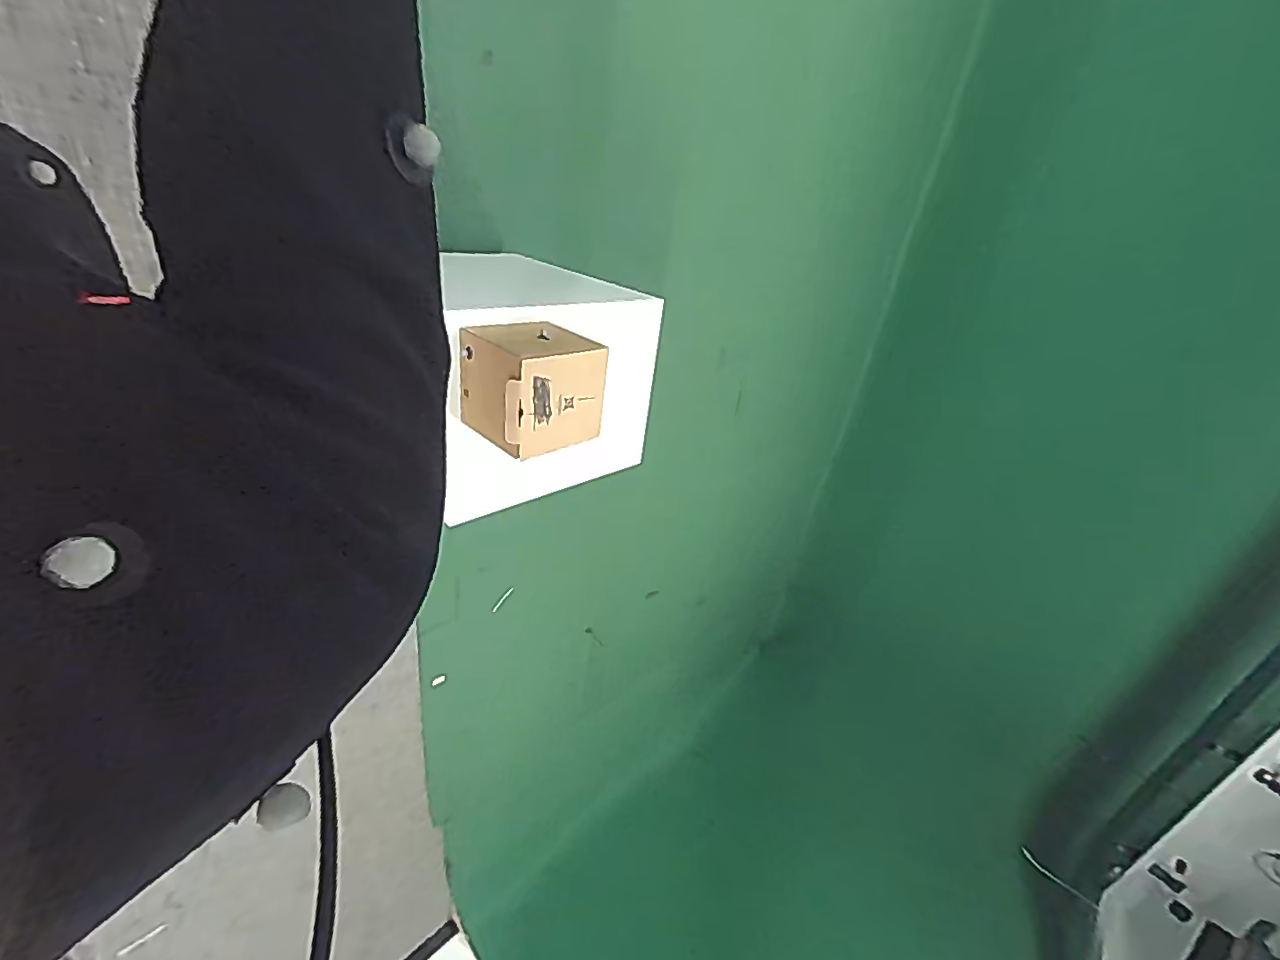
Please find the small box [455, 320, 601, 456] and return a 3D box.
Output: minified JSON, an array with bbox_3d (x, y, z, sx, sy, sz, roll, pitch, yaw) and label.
[{"bbox_3d":[-0.191,-0.161,0.895,0.179,0.176,0.168,-22,132,-44],"label":"small box"}]
